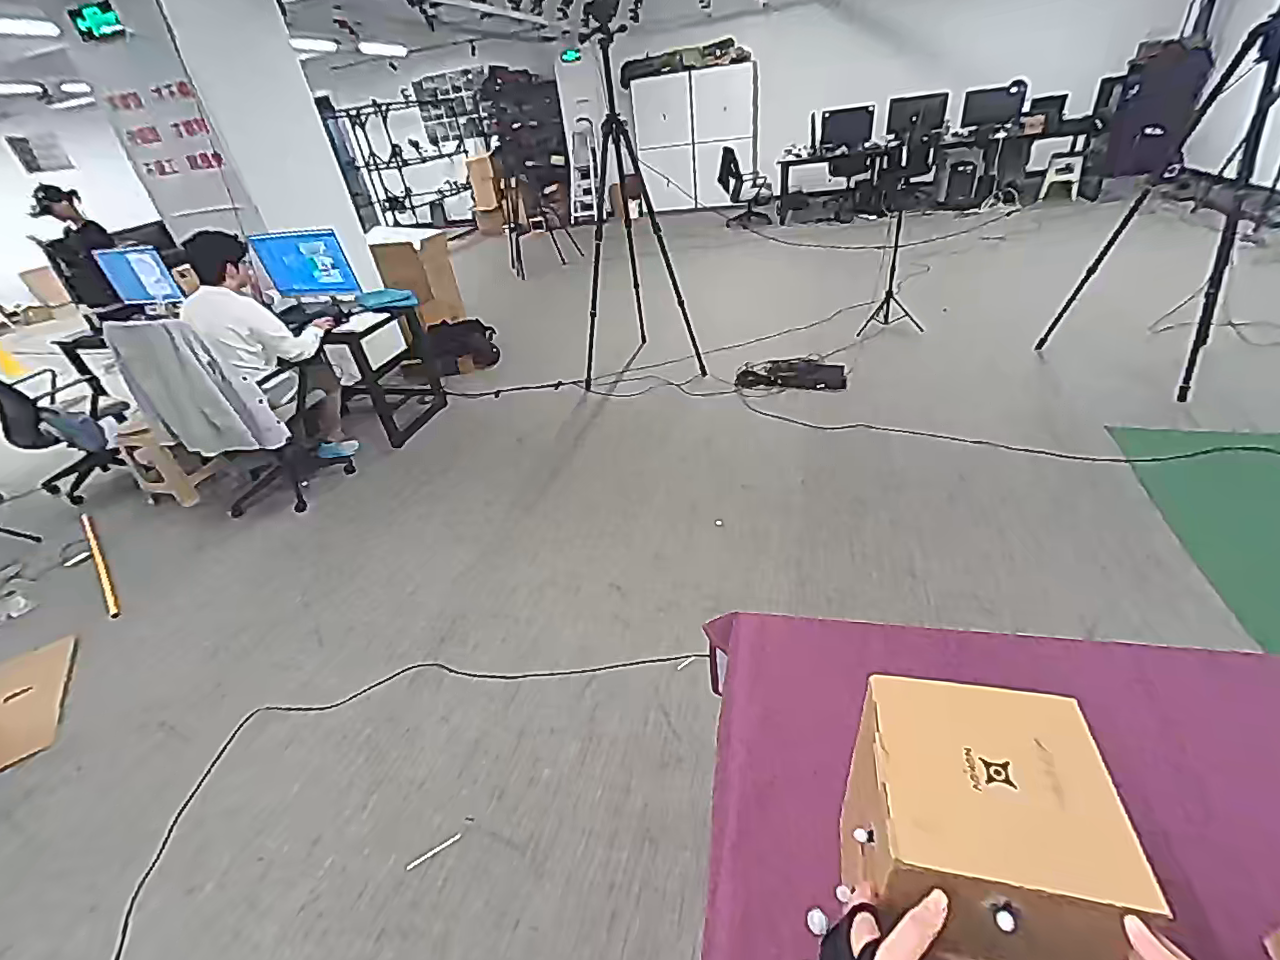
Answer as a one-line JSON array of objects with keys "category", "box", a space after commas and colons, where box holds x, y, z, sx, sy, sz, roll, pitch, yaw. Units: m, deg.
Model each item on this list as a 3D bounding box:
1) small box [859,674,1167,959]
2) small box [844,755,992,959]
[{"category": "small box", "box": [0.300, 0.305, 0.489, 0.179, 0.176, 0.168, 2, 37, 15]}, {"category": "small box", "box": [0.315, 0.438, 0.583, 0.168, 0.176, 0.179, 3, 36, 16]}]
